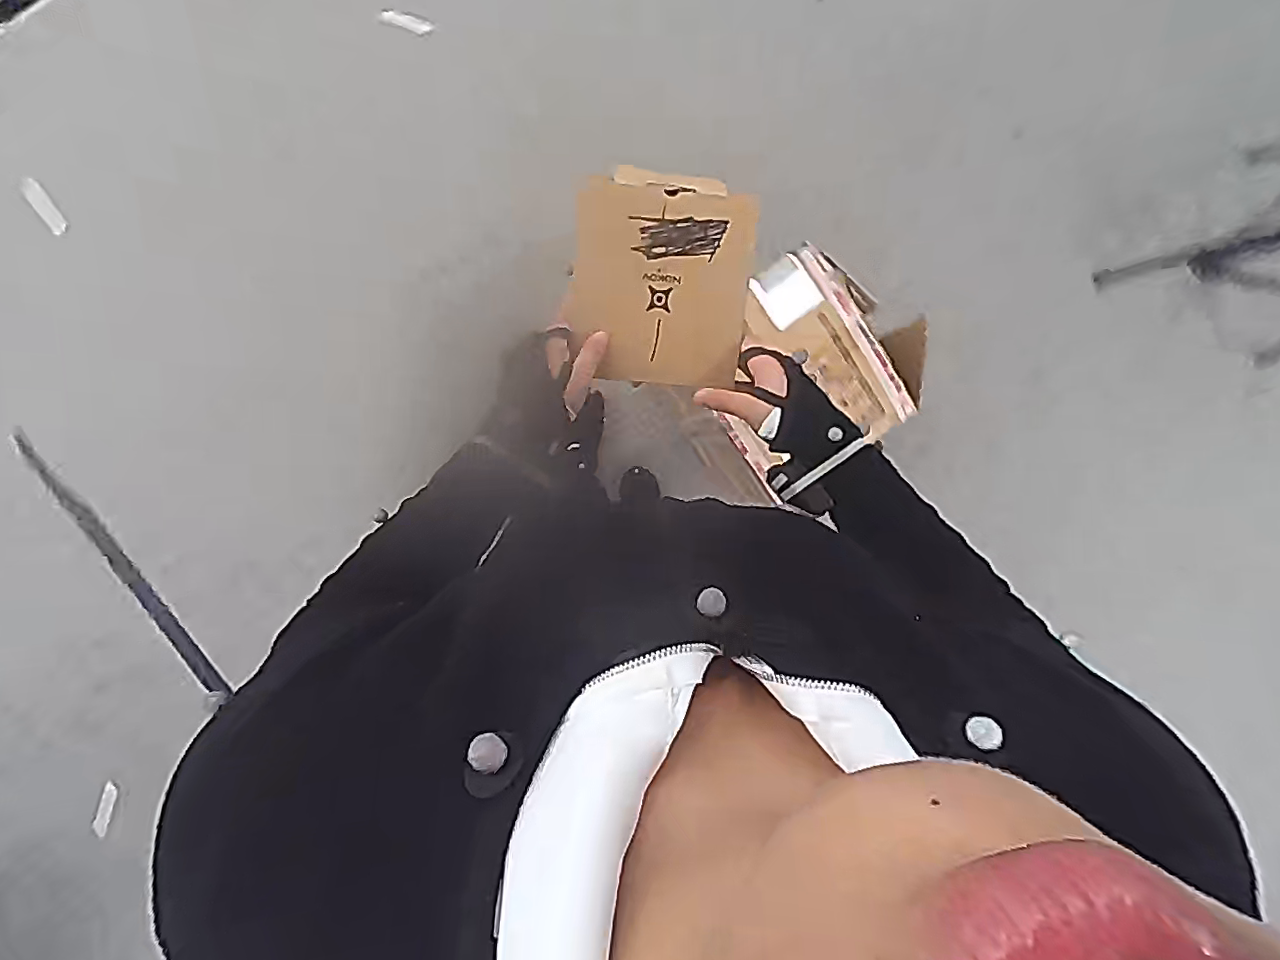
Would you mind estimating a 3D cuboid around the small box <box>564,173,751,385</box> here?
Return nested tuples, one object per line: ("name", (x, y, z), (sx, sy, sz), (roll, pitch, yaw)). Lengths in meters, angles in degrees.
("small box", (0.007, -0.203, 0.578), (0.168, 0.176, 0.179), (3, 107, -6))
